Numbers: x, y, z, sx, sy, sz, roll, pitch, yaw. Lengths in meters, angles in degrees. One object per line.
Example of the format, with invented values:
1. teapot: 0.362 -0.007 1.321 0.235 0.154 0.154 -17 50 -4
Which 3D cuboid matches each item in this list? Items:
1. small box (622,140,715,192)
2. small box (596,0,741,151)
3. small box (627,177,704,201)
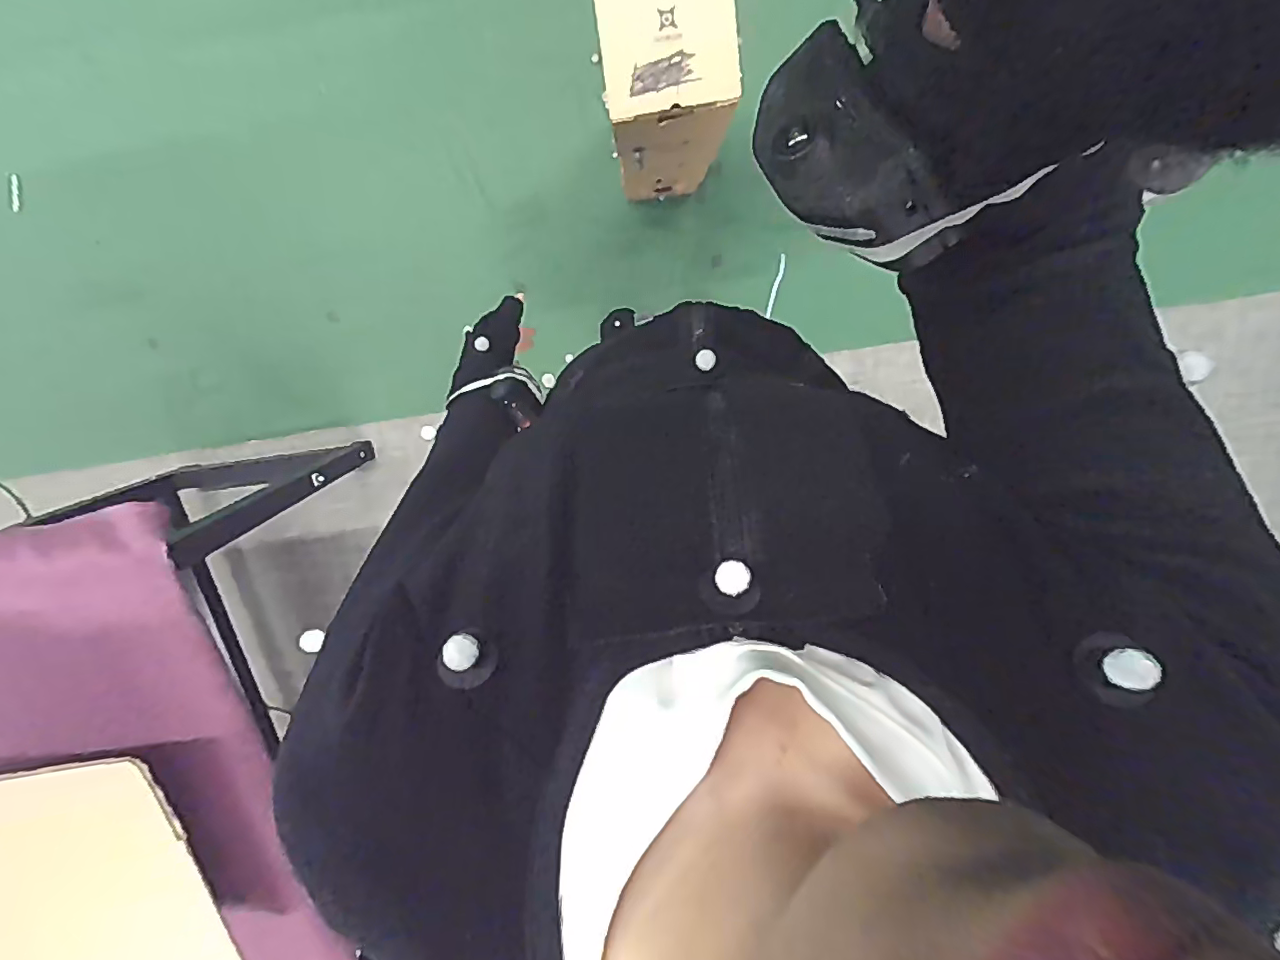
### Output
1. small box: 0.045 -0.673 1.032 0.168 0.176 0.179 -8 108 4
2. small box: 0.037 -0.561 0.723 0.168 0.176 0.179 -7 107 4
3. small box: 0.048 -0.731 1.185 0.168 0.176 0.179 -5 108 4
